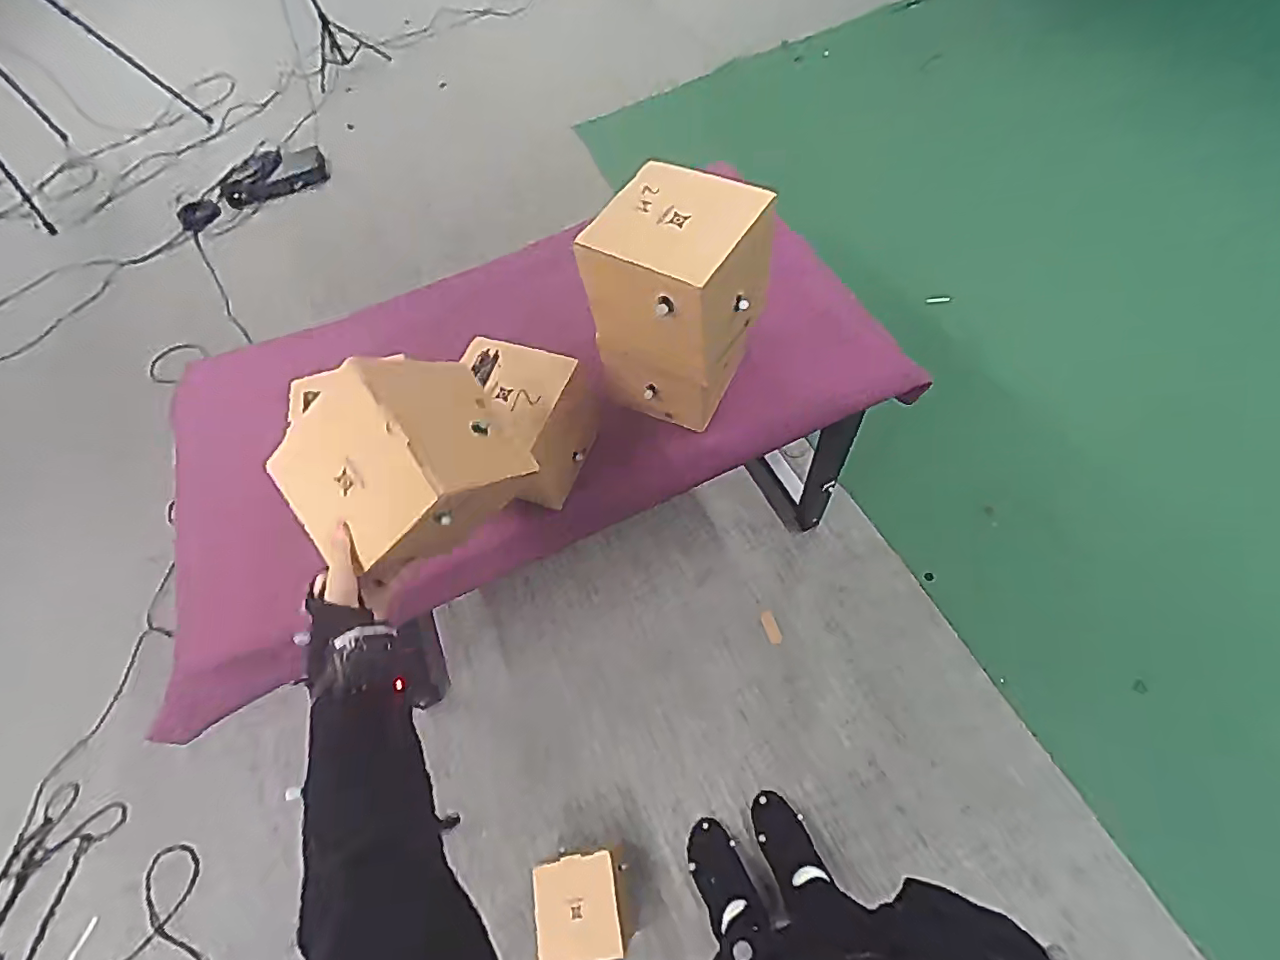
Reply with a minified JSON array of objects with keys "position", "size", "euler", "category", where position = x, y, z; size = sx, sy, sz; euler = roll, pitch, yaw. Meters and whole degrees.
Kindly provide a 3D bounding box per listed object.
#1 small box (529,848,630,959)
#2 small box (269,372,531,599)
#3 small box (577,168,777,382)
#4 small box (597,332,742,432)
[{"position":[-0.122,0.882,1.120],"size":[0.168,0.176,0.179],"euler":[-12,62,2],"category":"small box"},{"position":[-0.257,-0.001,0.604],"size":[0.179,0.176,0.168],"euler":[-40,83,23],"category":"small box"},{"position":[0.053,-0.251,0.686],"size":[0.179,0.176,0.168],"euler":[29,69,22],"category":"small box"},{"position":[0.058,-0.203,0.849],"size":[0.168,0.176,0.179],"euler":[22,67,19],"category":"small box"}]
